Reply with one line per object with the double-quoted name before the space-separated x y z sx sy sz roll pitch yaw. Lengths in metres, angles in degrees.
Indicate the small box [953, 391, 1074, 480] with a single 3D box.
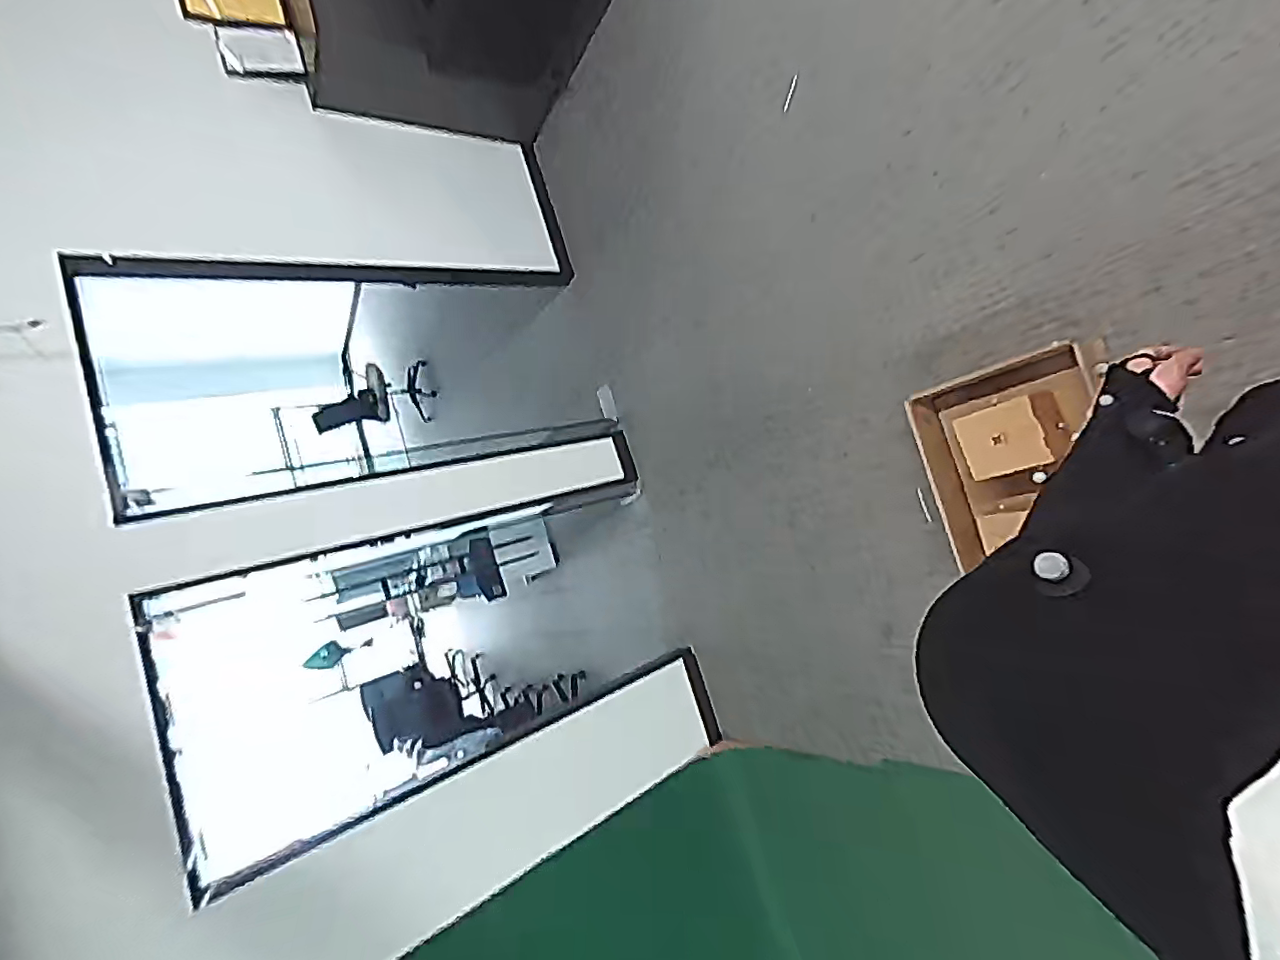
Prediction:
"small box" 0.932 -0.112 1.350 0.179 0.176 0.168 -26 79 52
